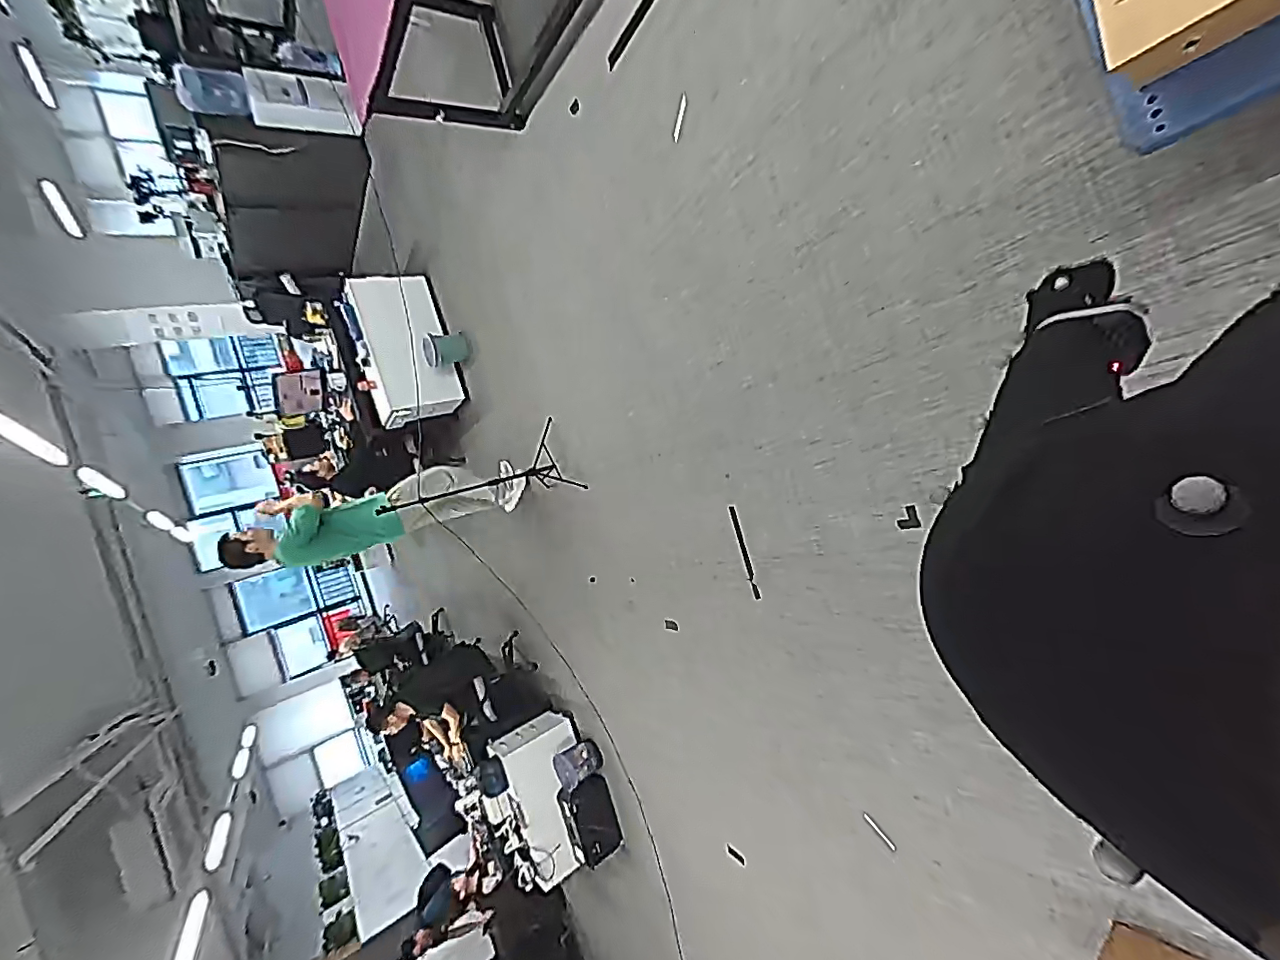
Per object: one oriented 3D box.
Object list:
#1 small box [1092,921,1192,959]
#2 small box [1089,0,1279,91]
[{"bbox_3d":[1.265,1.268,1.350,0.179,0.176,0.168,-10,96,55],"label":"small box"},{"bbox_3d":[0.792,-0.712,0.785,0.179,0.176,0.168,-9,97,56],"label":"small box"}]
